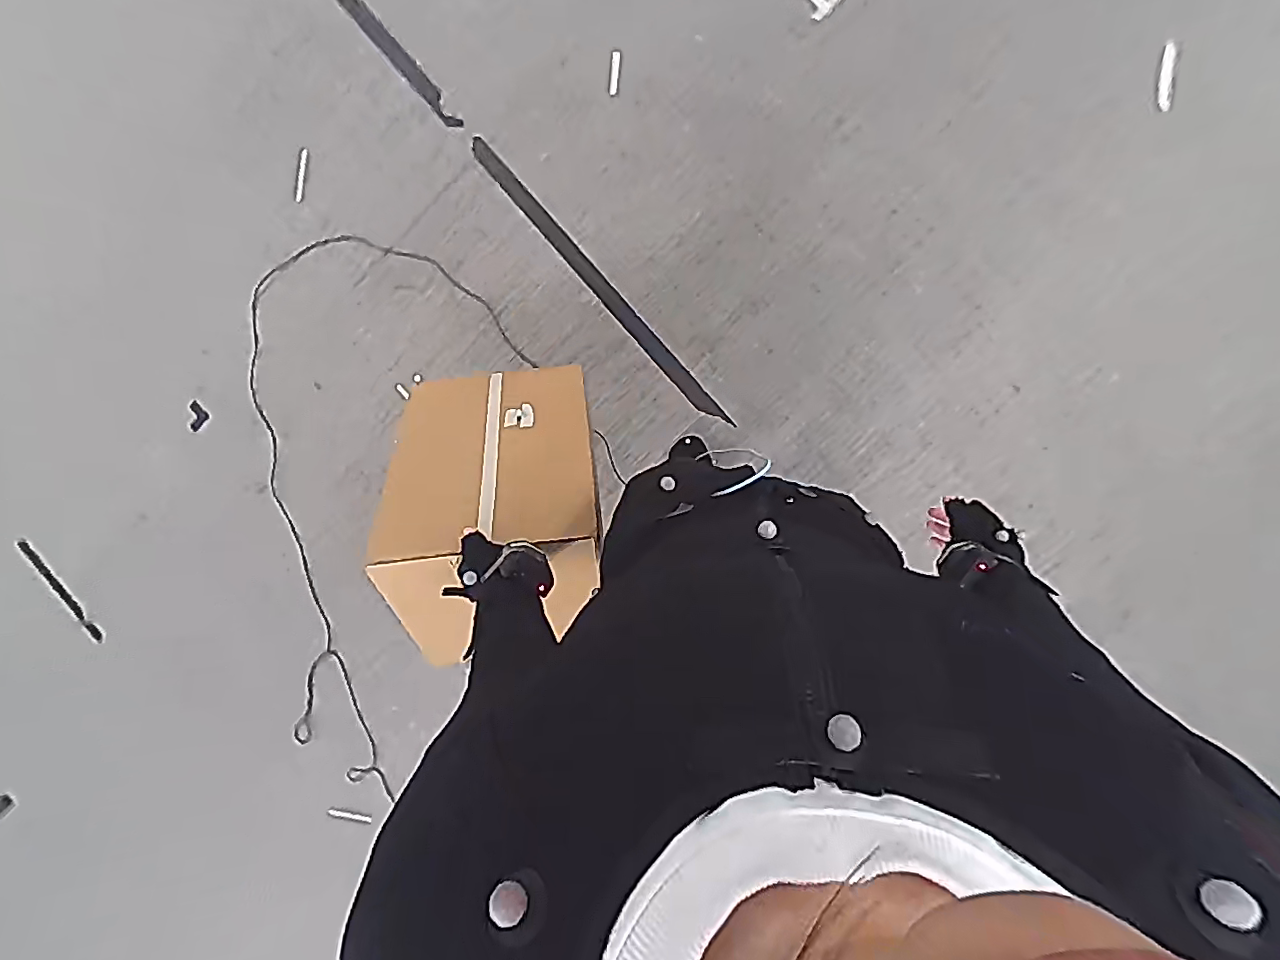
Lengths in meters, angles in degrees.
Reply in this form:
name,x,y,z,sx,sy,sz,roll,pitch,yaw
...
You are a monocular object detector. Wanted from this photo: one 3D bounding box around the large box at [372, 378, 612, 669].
name,x,y,z,sx,sy,sz,roll,pitch,yaw
large box,-0.235,0.069,0.980,0.320,0.408,0.320,-7,135,-4
